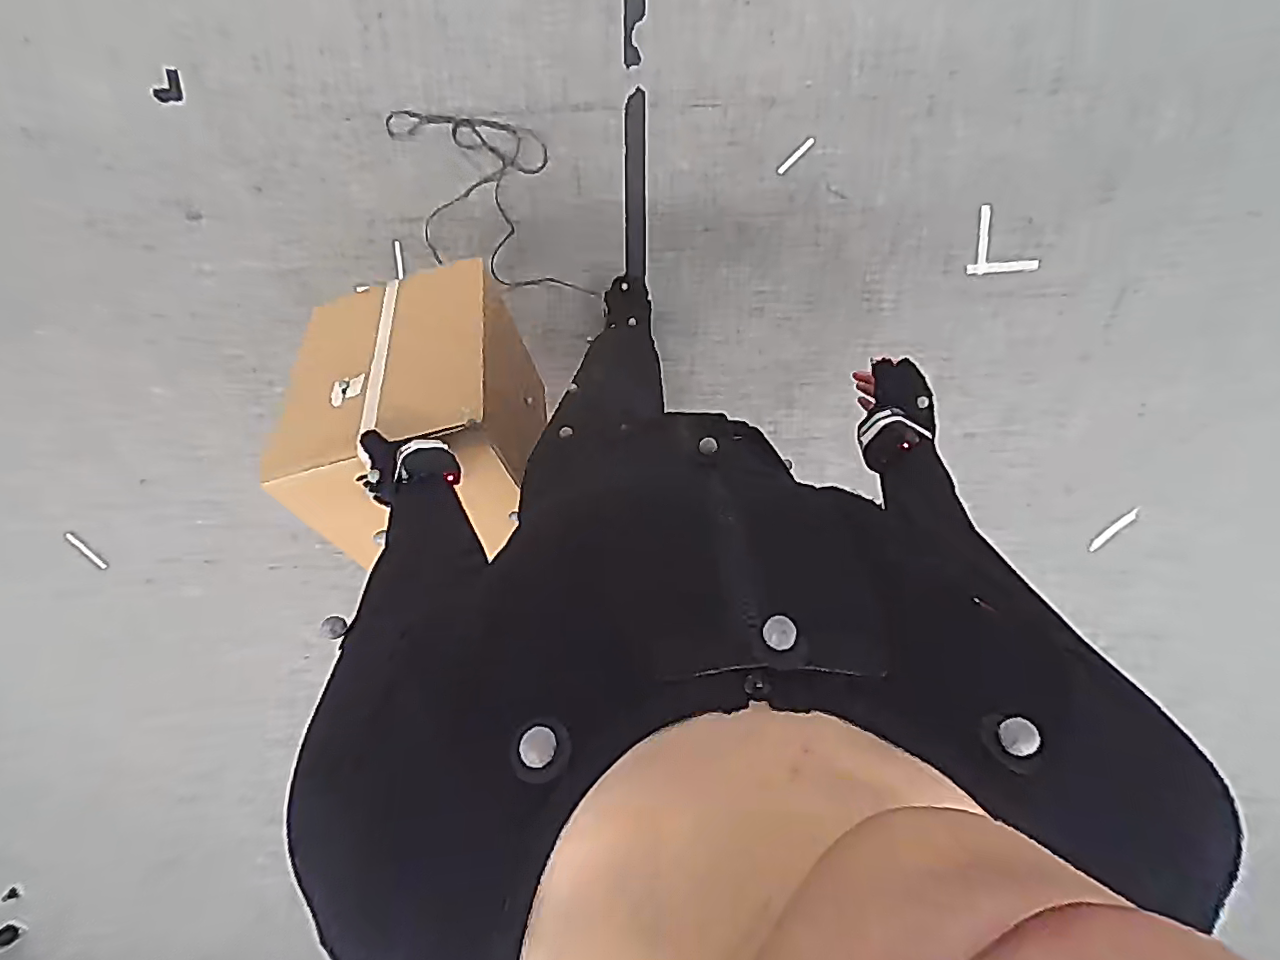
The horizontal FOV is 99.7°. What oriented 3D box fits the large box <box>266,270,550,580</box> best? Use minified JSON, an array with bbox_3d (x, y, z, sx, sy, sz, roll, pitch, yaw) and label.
[{"bbox_3d":[-0.364,-0.096,0.953,0.320,0.408,0.320,-15,142,3],"label":"large box"}]
